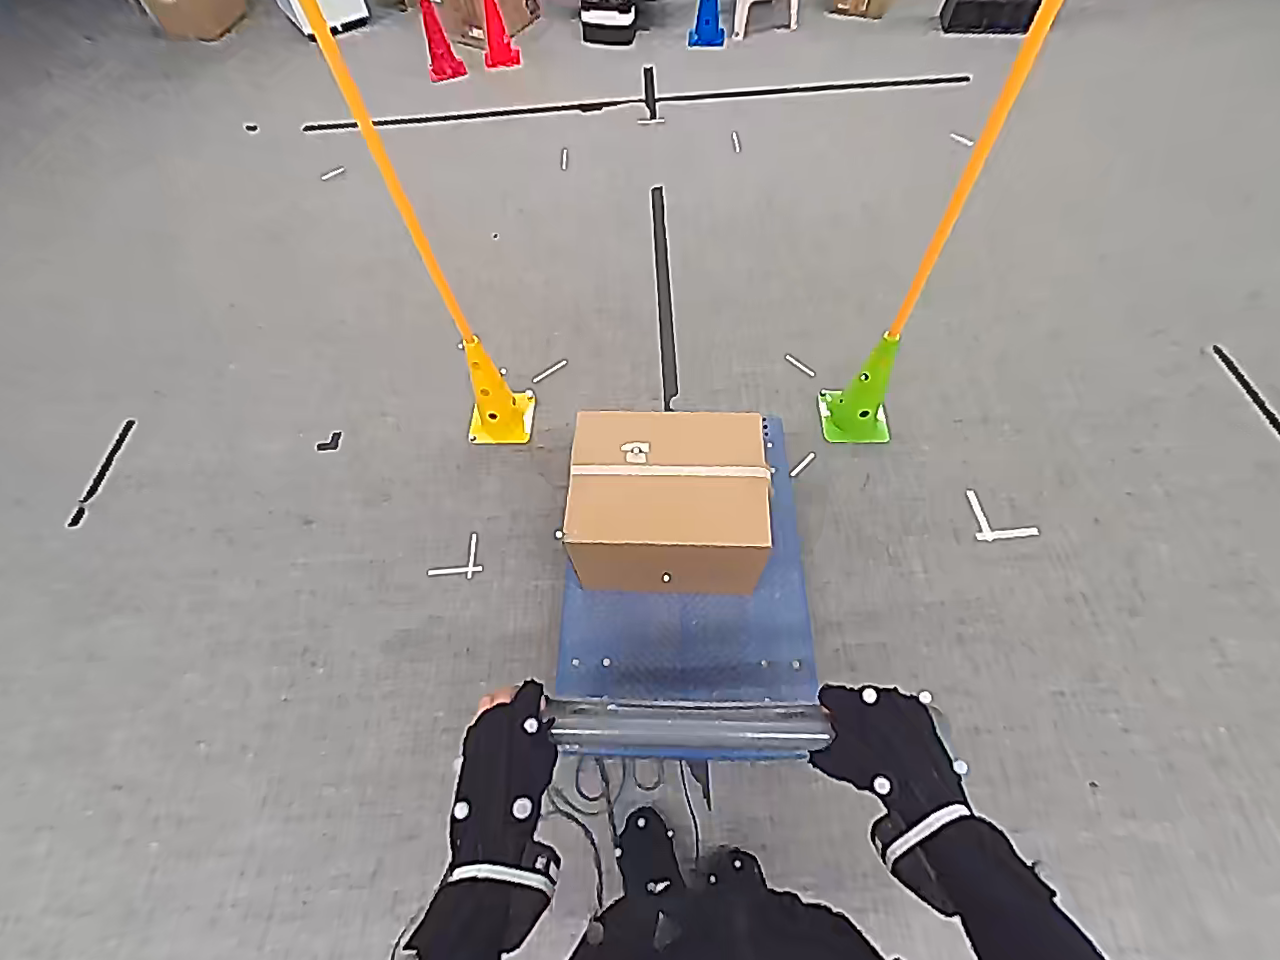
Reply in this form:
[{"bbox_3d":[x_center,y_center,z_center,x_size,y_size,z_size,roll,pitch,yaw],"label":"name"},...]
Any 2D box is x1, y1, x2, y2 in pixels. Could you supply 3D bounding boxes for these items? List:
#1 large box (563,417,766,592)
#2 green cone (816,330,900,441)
[{"bbox_3d":[0.061,0.068,1.251,0.408,0.320,0.320,0,61,4],"label":"large box"},{"bbox_3d":[0.671,-0.293,1.587,0.202,0.368,0.200,1,61,2],"label":"green cone"}]
